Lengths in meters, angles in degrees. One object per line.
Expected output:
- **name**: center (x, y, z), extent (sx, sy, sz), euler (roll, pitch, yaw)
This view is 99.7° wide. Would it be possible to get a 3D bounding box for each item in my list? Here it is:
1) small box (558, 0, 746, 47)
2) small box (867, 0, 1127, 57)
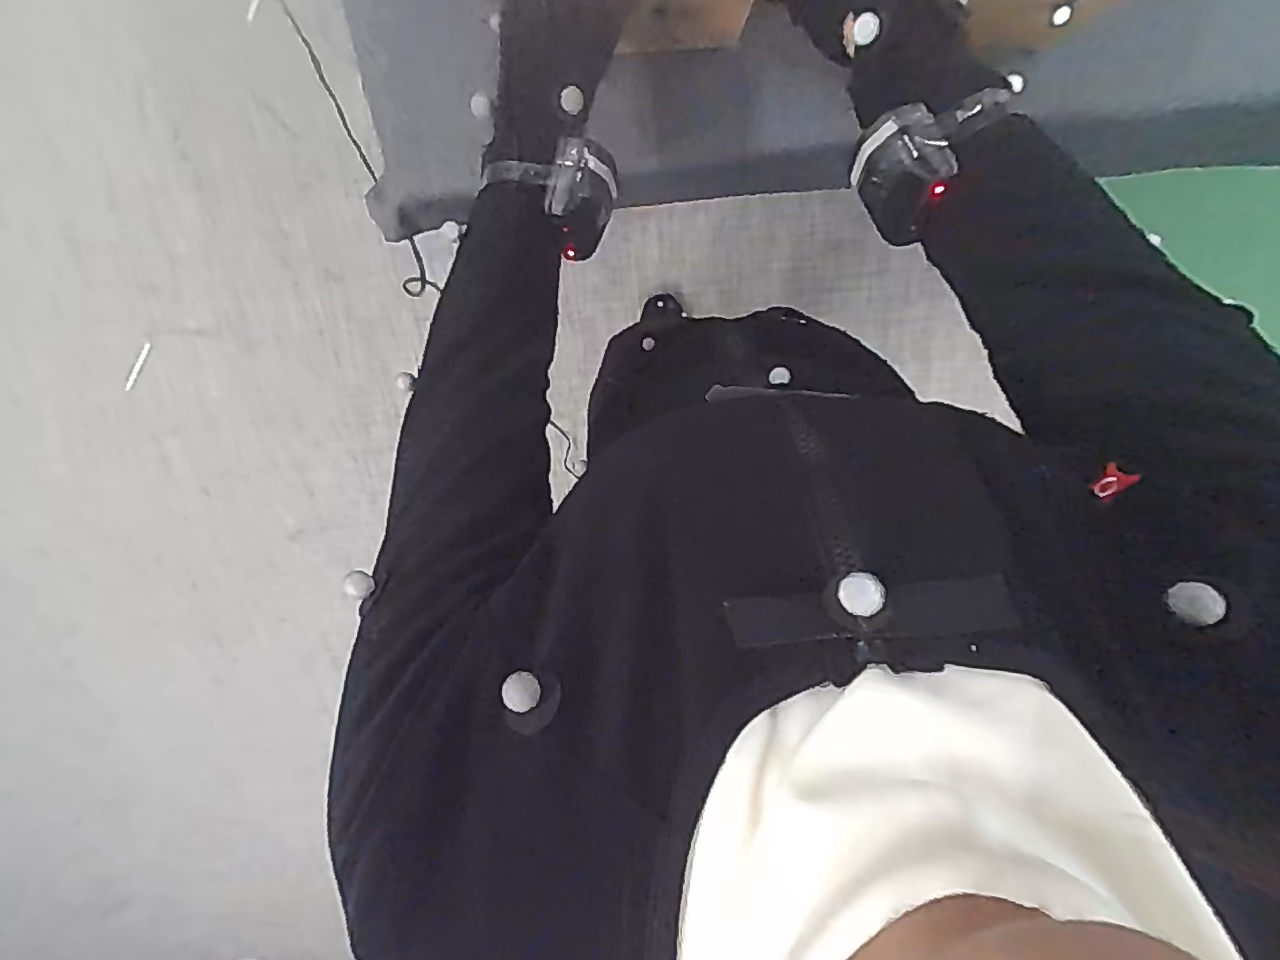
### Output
- **small box**: center (0.009, -0.477, 0.431), extent (0.168, 0.176, 0.179), euler (-3, 110, 0)
- **small box**: center (0.316, -0.477, 0.439), extent (0.179, 0.176, 0.168), euler (5, 108, -1)
